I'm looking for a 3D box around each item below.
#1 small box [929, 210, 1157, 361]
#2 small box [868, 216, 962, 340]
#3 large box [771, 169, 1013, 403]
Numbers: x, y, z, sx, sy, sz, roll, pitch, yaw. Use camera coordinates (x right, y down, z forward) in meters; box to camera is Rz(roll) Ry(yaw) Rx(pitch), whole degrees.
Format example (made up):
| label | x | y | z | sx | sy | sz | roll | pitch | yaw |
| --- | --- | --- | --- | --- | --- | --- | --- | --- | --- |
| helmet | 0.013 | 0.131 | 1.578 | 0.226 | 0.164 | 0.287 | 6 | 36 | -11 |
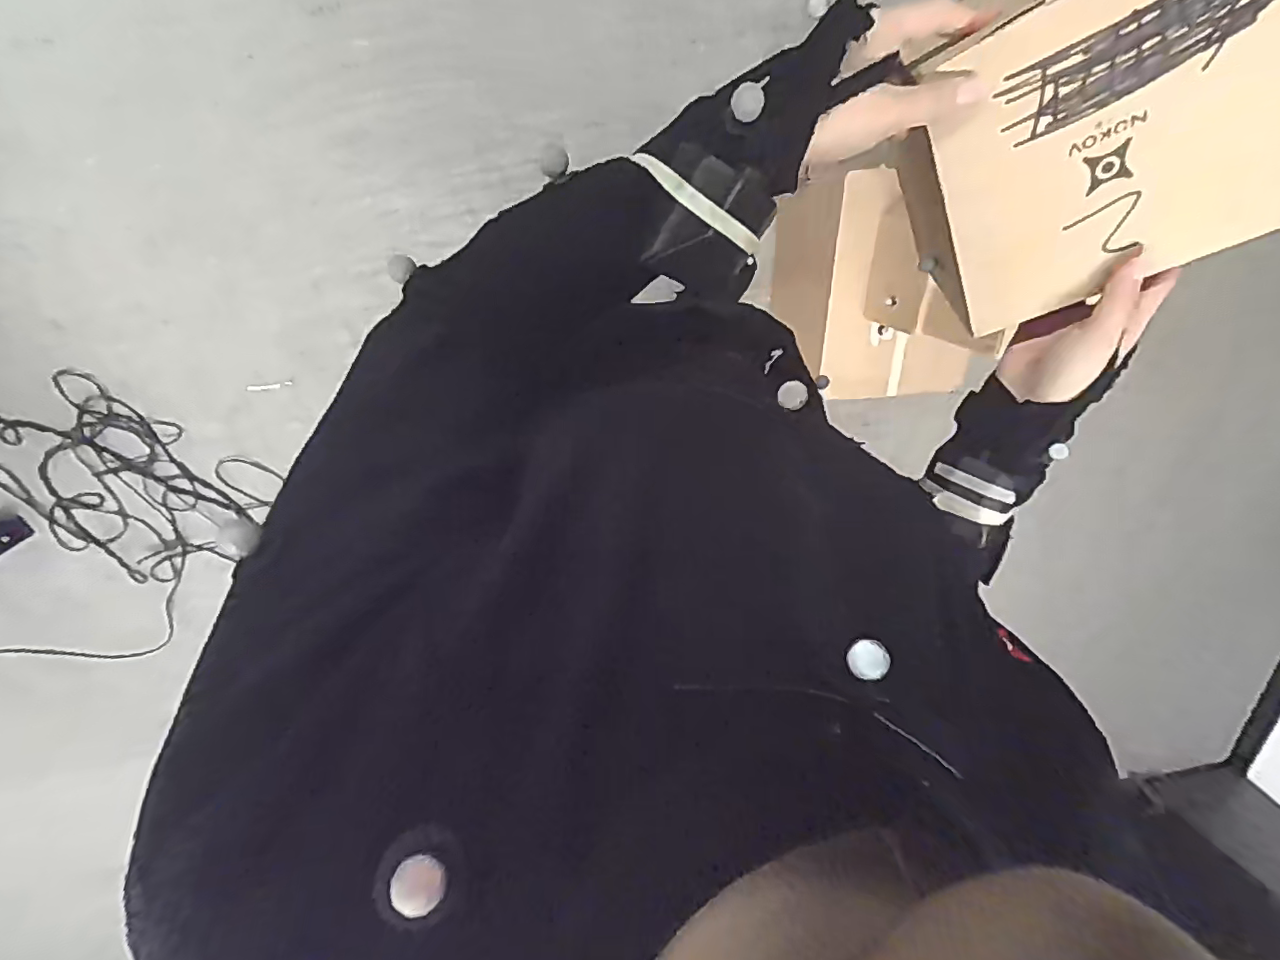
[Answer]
| label | x | y | z | sx | sy | sz | roll | pitch | yaw |
| --- | --- | --- | --- | --- | --- | --- | --- | --- | --- |
| small box | 0.538 | -0.276 | 0.753 | 0.168 | 0.176 | 0.179 | -5 | 117 | -6 |
| small box | 0.503 | -0.340 | 0.899 | 0.168 | 0.176 | 0.179 | -4 | 116 | -7 |
| large box | 0.482 | -0.411 | 1.133 | 0.320 | 0.320 | 0.408 | -4 | 118 | -4 |
